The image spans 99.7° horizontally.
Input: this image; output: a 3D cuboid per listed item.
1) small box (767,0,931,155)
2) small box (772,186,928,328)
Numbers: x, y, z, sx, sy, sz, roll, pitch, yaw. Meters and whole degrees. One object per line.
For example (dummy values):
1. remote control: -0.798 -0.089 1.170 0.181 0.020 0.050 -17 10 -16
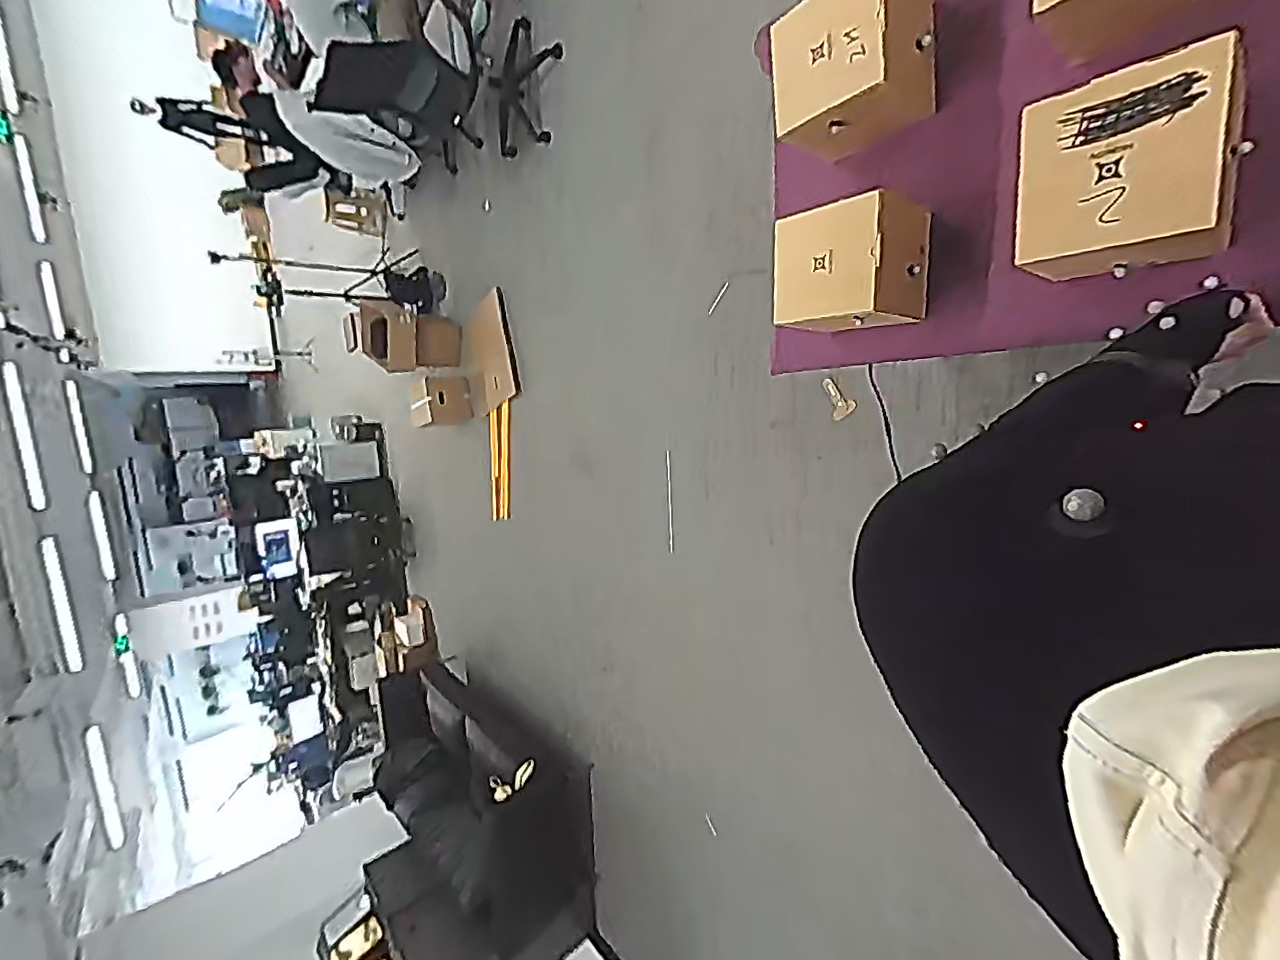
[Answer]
1. small box: 0.319 -0.629 0.825 0.179 0.176 0.168 3 101 50
2. small box: 0.334 -0.342 0.871 0.179 0.176 0.168 8 103 49
